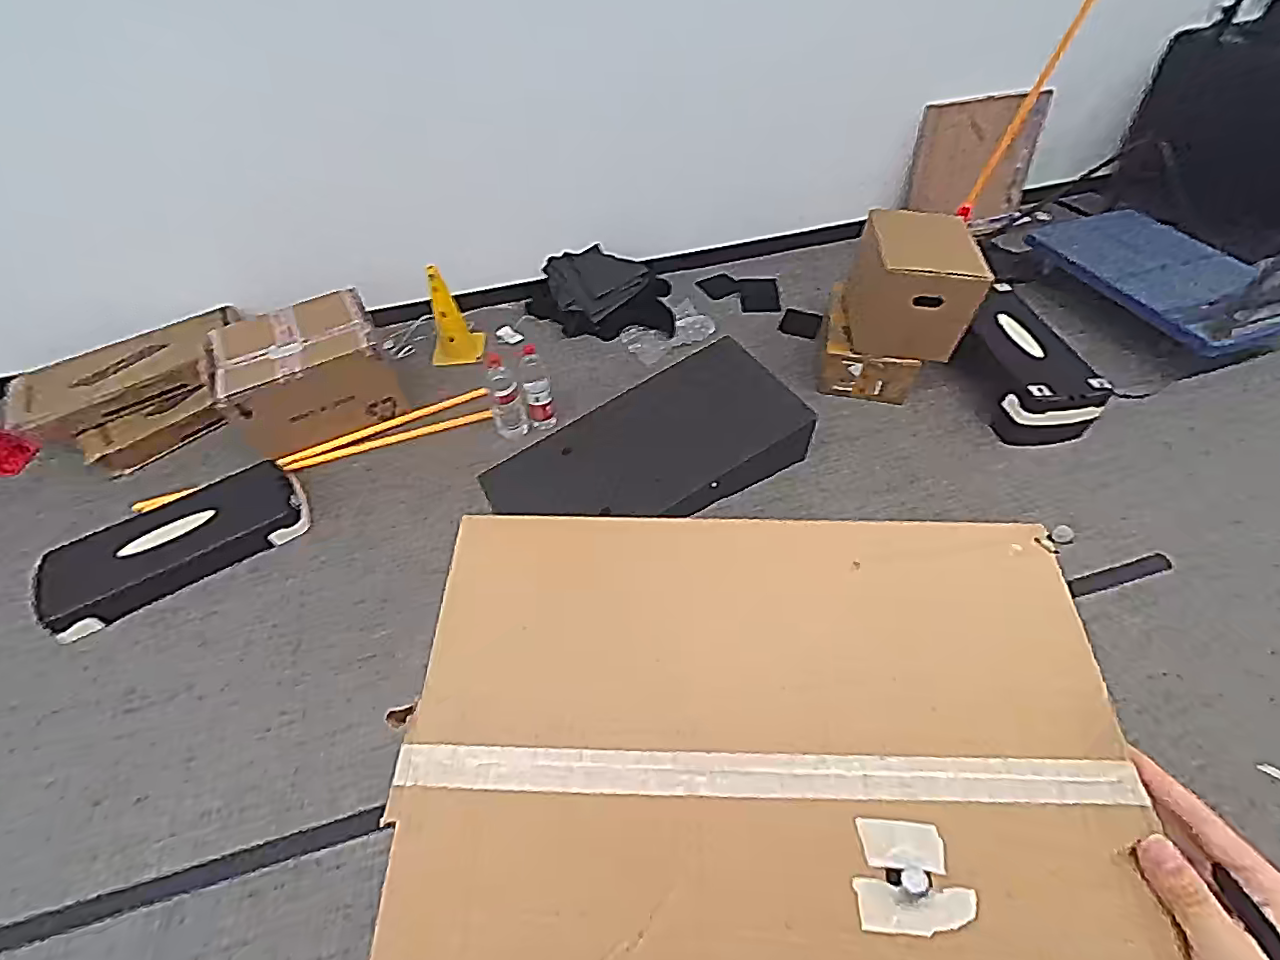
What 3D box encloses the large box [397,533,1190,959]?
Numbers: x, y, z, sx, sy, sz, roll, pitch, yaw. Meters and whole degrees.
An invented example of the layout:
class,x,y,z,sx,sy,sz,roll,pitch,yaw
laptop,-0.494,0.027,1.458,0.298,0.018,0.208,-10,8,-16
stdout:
class,x,y,z,sx,sy,sz,roll,pitch,yaw
large box,0.076,0.247,0.439,0.408,0.320,0.320,1,61,1
